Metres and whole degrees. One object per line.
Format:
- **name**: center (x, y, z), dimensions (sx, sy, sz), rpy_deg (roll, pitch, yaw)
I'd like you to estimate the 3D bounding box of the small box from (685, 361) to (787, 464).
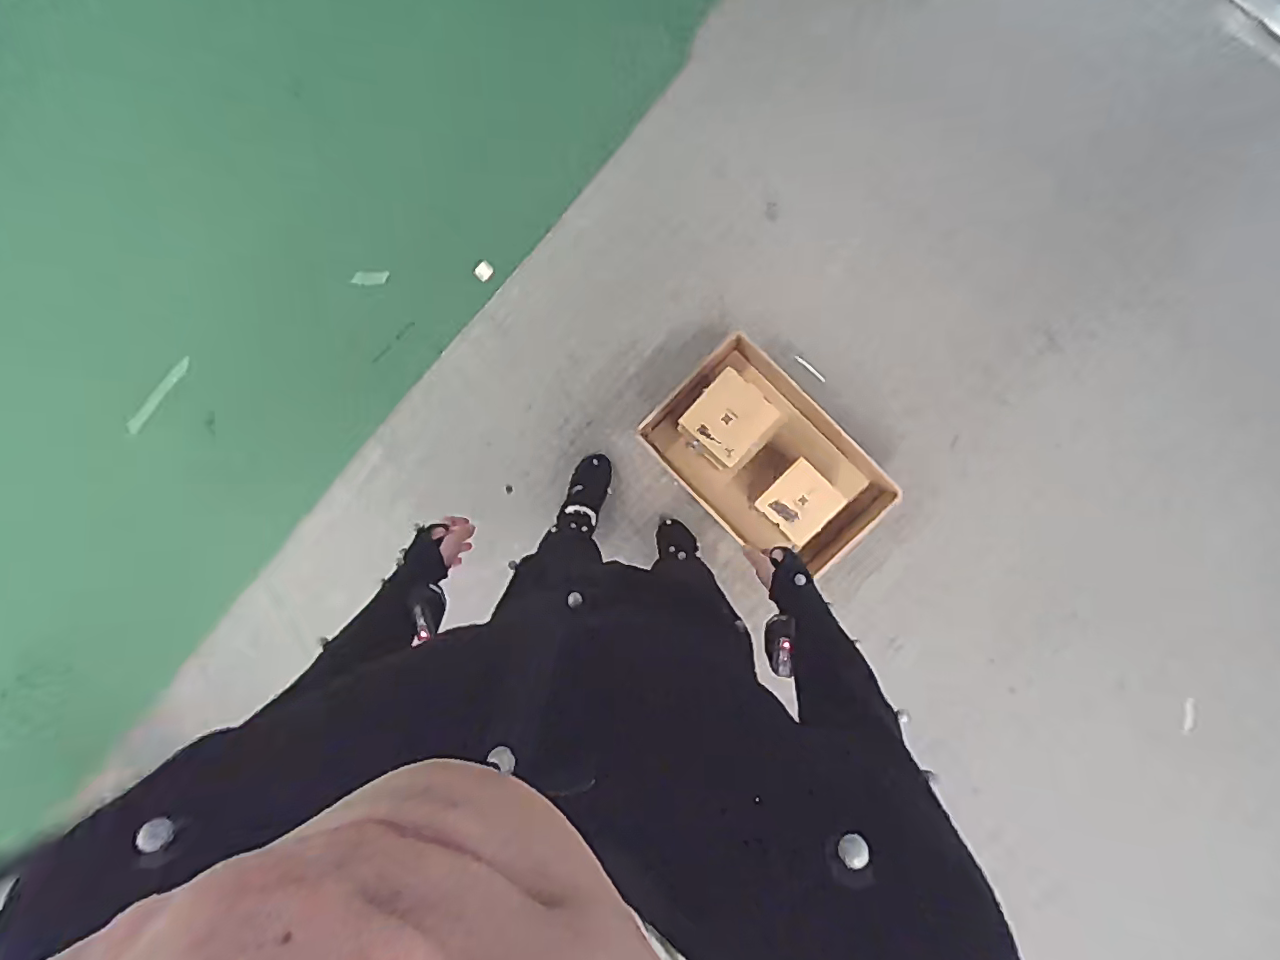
- **small box**: center (0.222, -0.154, 1.303), dimensions (0.168, 0.176, 0.179), rpy_deg (44, 93, 4)
